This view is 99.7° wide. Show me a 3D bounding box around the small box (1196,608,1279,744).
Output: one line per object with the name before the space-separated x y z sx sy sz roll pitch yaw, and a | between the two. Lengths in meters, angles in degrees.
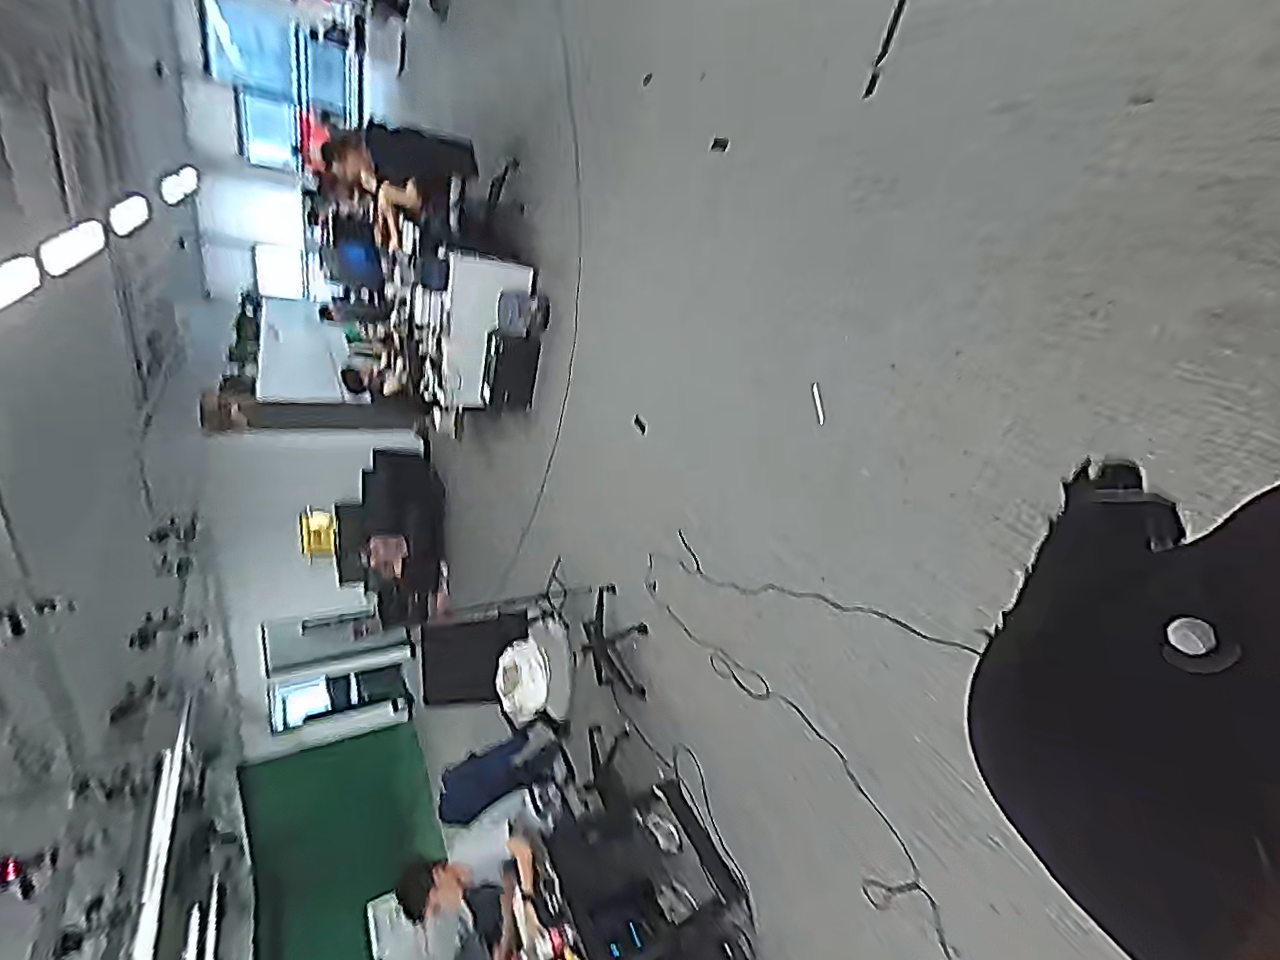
small box | 1.157 0.353 0.952 0.168 0.176 0.179 43 127 45
